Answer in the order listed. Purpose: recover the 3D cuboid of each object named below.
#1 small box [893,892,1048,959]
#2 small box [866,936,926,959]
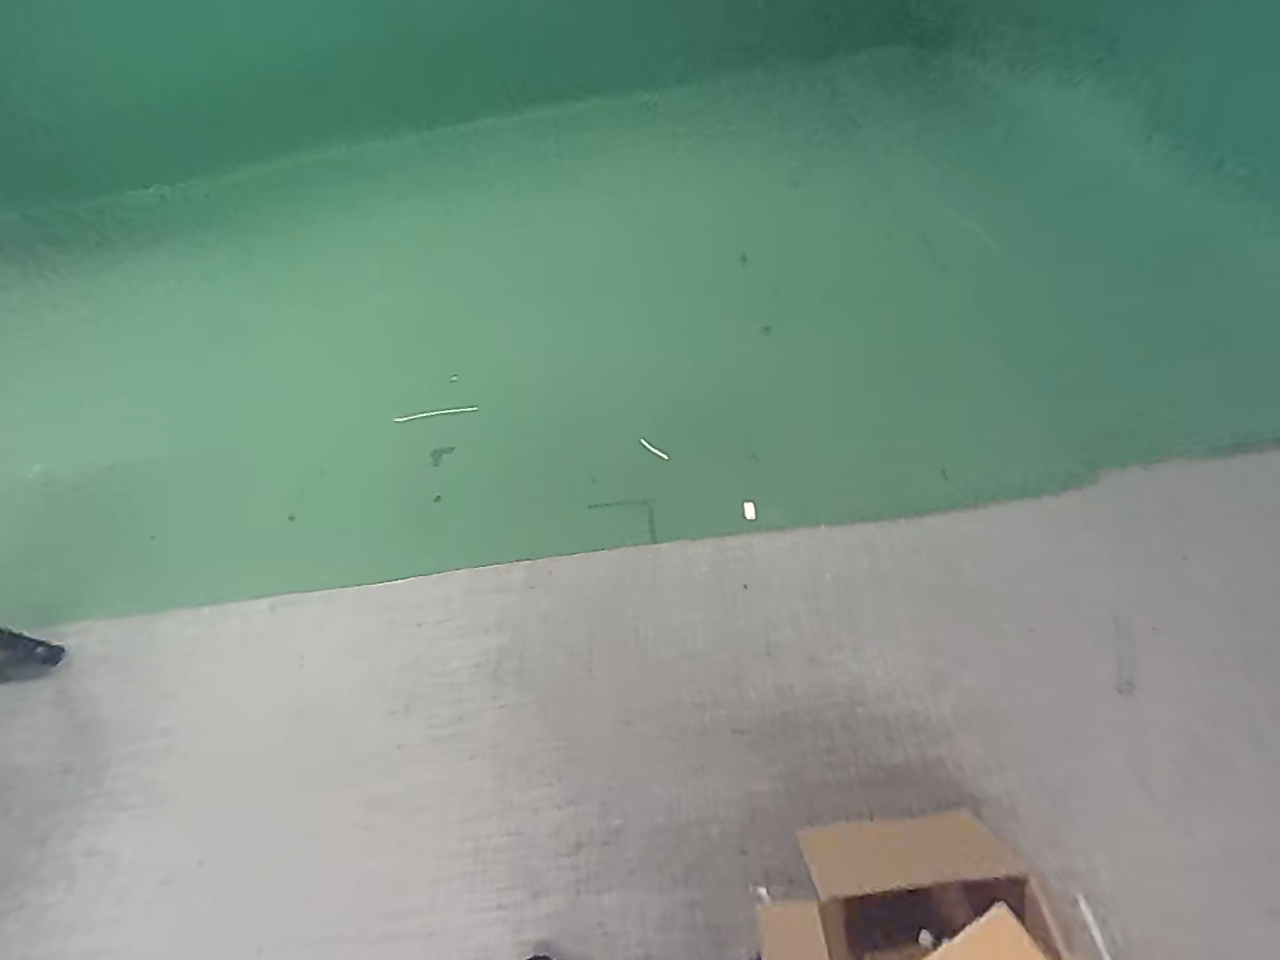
[{"bbox_3d":[0.326,0.557,0.523,0.179,0.176,0.168,-20,40,-16],"label":"small box"},{"bbox_3d":[0.425,0.718,0.713,0.179,0.176,0.168,-12,54,3],"label":"small box"}]
